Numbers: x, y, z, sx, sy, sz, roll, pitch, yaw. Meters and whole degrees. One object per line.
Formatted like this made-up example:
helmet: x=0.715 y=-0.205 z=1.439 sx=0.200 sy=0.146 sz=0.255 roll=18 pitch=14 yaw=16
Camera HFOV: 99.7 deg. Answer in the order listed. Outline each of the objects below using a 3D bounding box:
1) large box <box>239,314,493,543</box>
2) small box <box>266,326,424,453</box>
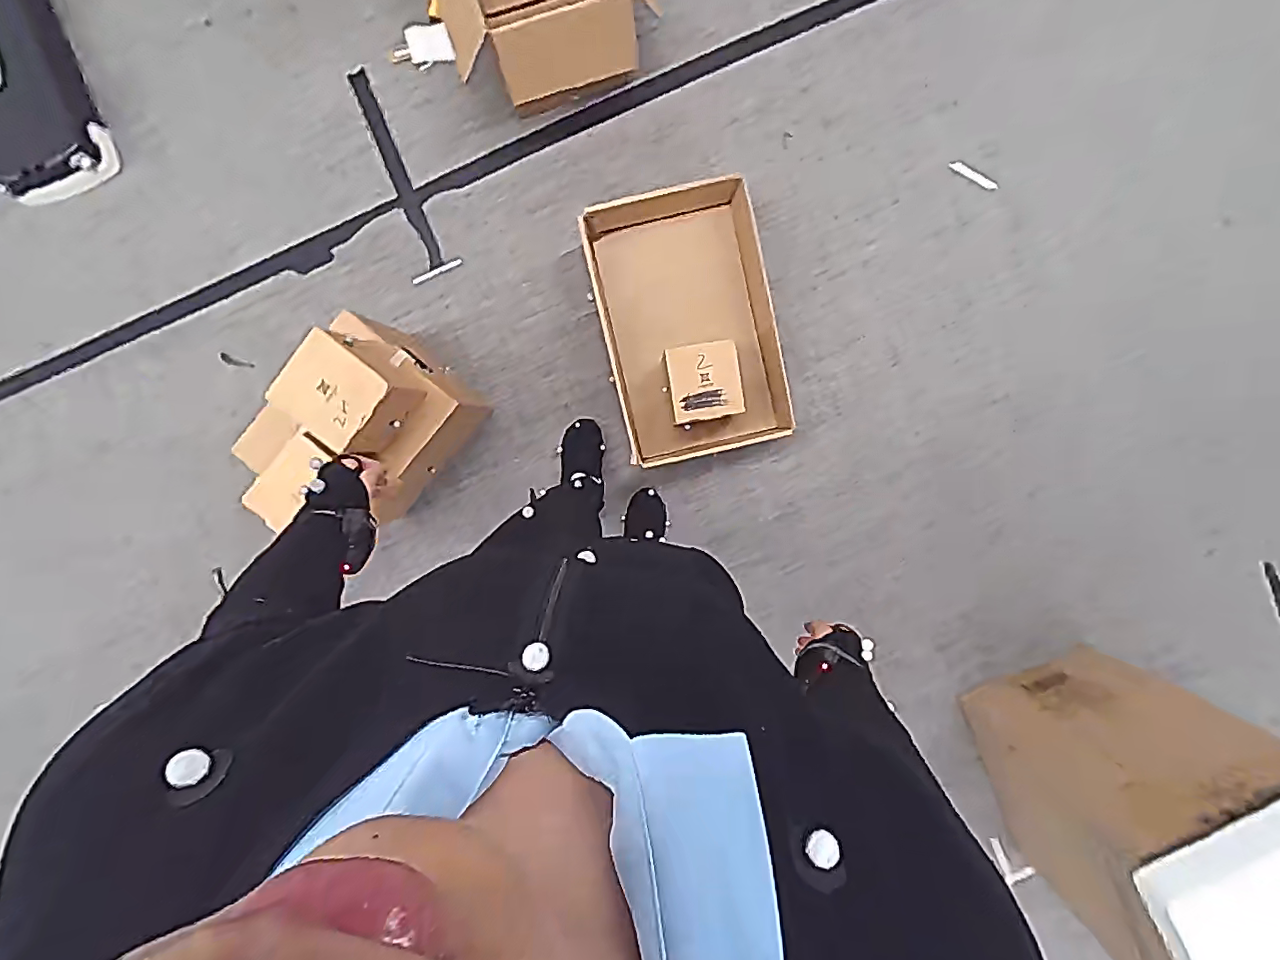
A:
large box: x=-0.628 y=-0.123 z=1.310 sx=0.320 sy=0.320 sz=0.408 roll=40 pitch=94 yaw=-3
small box: x=-0.565 y=-0.169 z=1.060 sx=0.179 sy=0.176 sz=0.168 roll=39 pitch=95 yaw=-4
